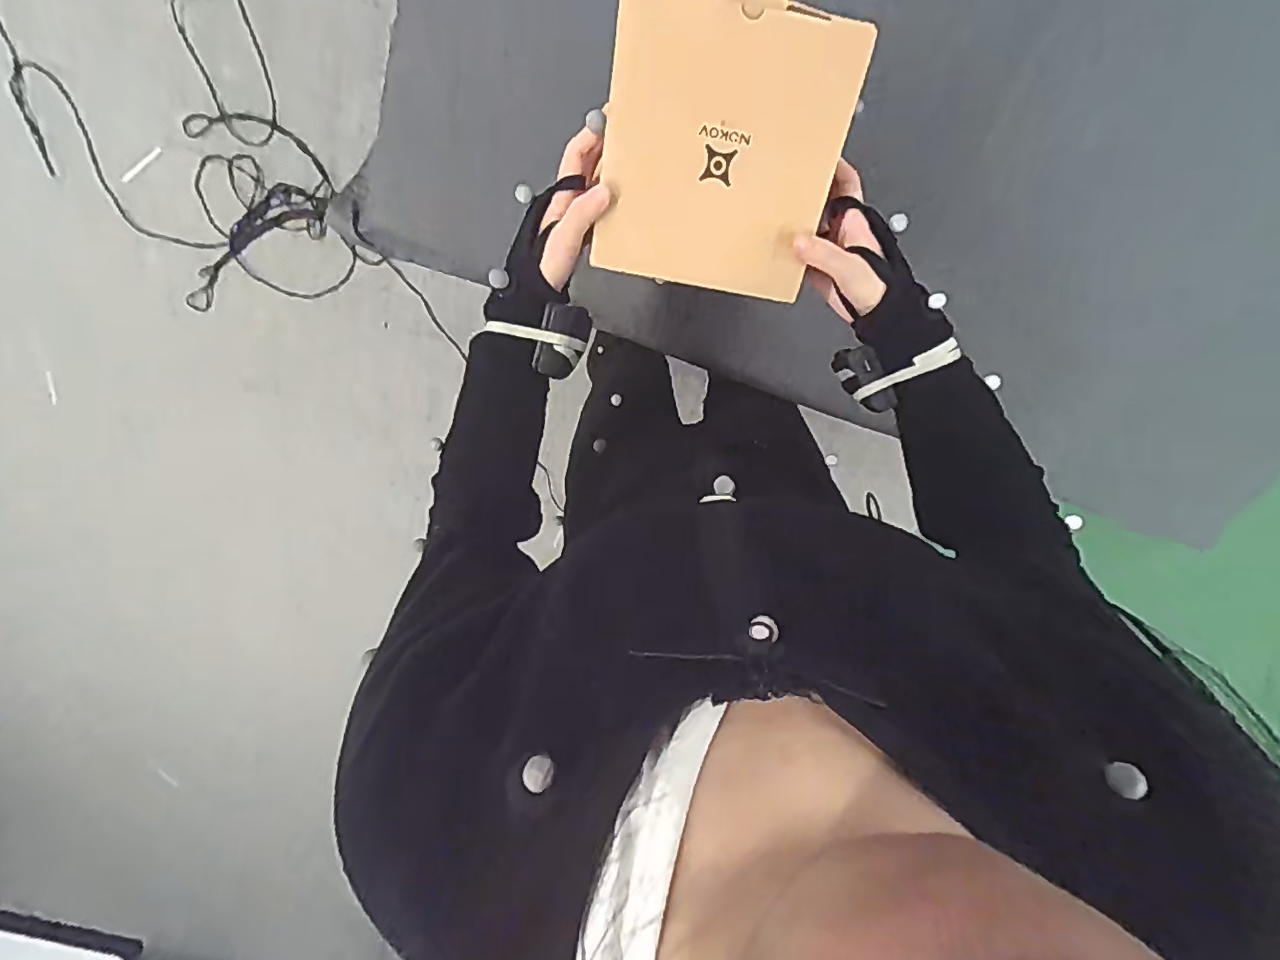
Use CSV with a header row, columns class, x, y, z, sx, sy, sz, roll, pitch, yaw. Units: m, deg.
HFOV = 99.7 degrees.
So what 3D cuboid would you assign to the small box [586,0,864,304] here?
class,x,y,z,sx,sy,sz,roll,pitch,yaw
small box,0.055,-0.267,0.457,0.168,0.176,0.179,10,118,-4
